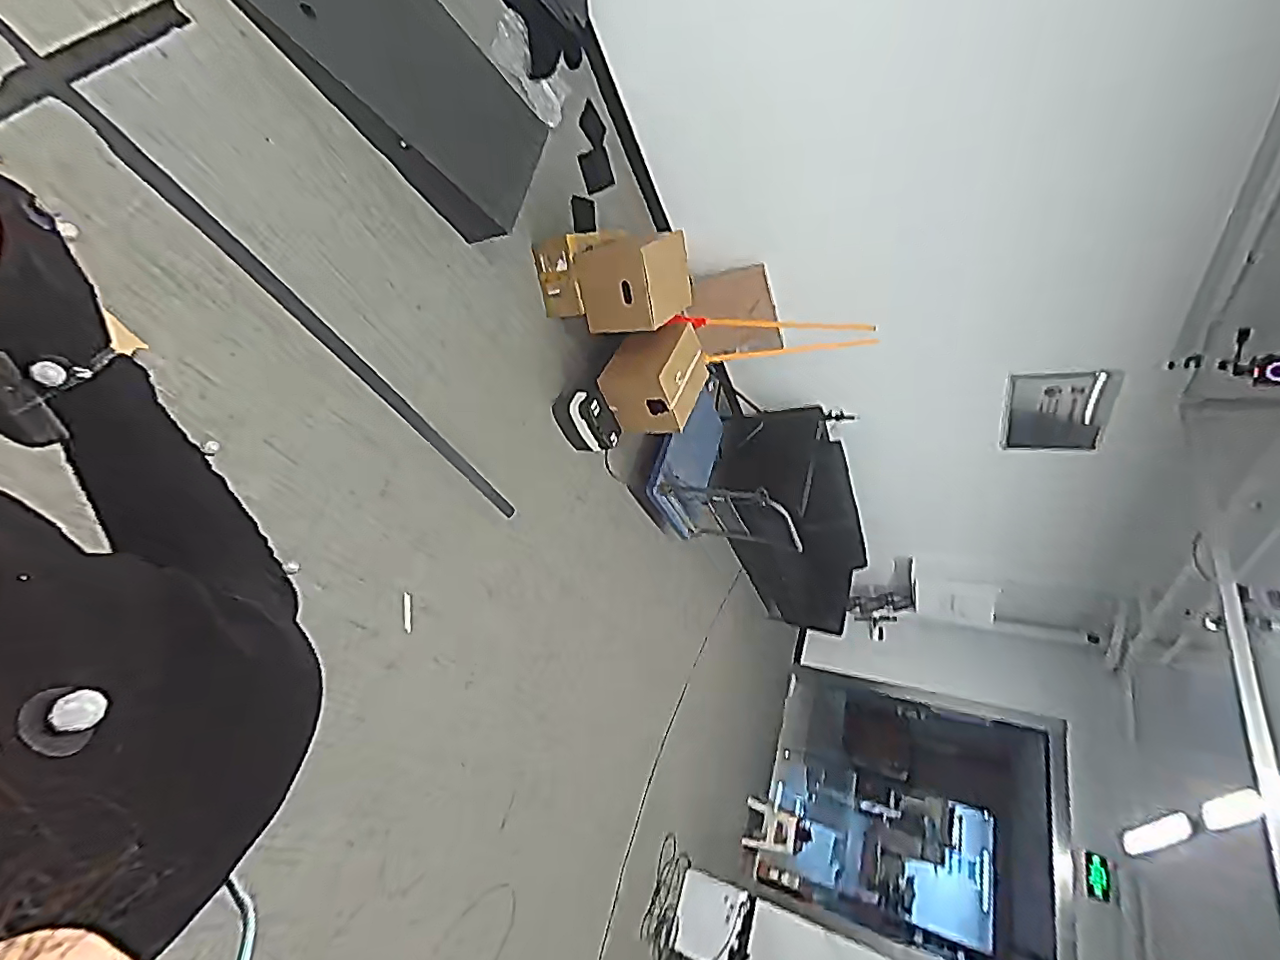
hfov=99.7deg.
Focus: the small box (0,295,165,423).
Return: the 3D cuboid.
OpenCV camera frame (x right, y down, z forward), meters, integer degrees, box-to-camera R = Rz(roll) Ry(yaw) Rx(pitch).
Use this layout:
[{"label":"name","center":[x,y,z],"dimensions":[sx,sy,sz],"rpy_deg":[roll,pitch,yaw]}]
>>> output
[{"label":"small box","center":[-1.077,-0.223,1.023],"dimensions":[0.179,0.176,0.168],"rpy_deg":[-65,144,-34]}]
